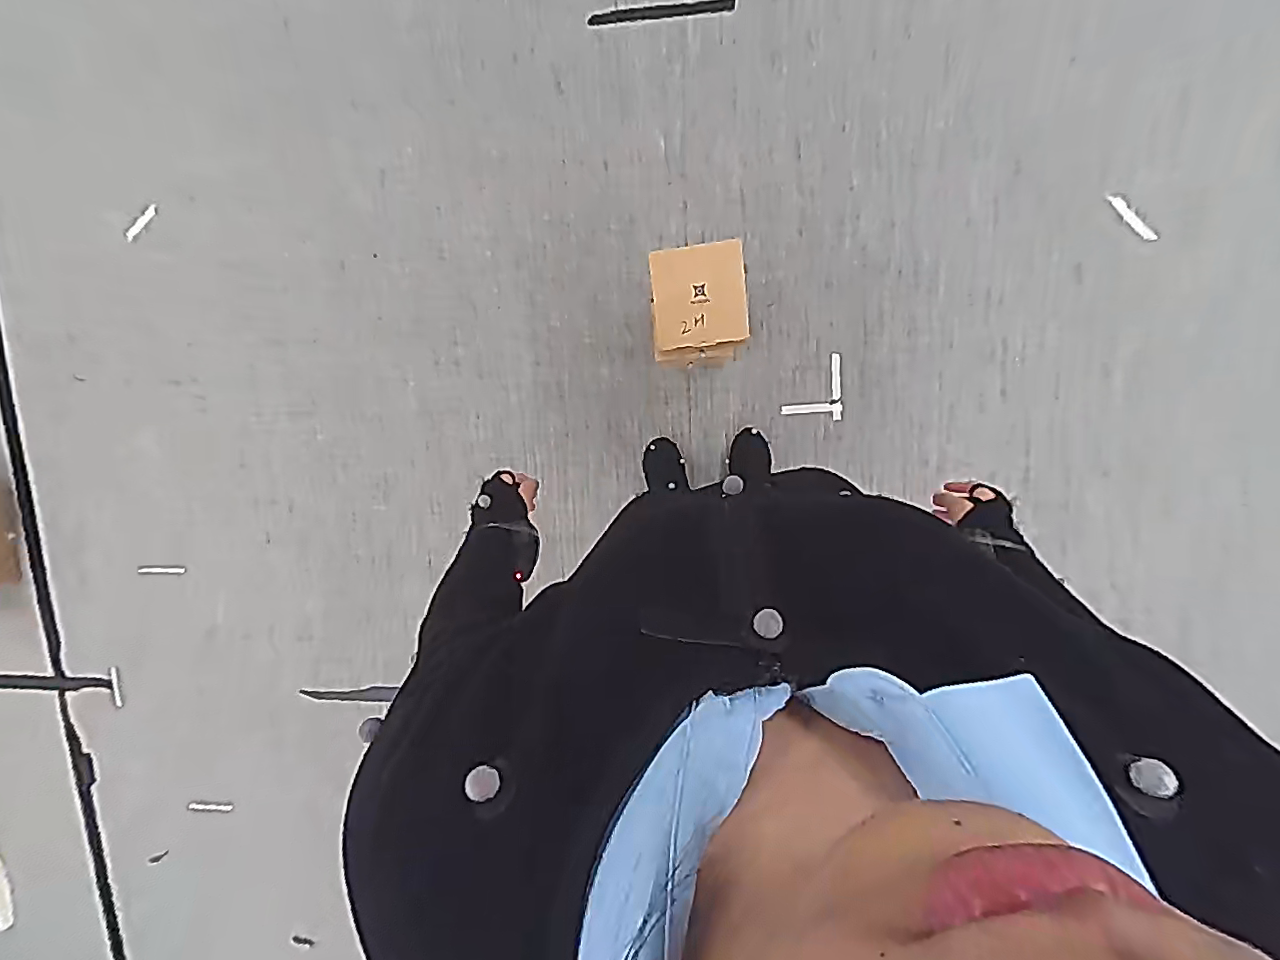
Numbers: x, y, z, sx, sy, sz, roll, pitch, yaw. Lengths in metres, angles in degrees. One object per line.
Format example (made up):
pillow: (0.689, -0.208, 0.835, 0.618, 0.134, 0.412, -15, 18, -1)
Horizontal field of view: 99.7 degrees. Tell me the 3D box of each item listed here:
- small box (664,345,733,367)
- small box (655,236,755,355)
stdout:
small box: (0.143, -0.382, 1.357, 0.168, 0.176, 0.179, -3, 98, 5)
small box: (0.120, -0.341, 1.031, 0.168, 0.176, 0.179, -6, 99, 6)
